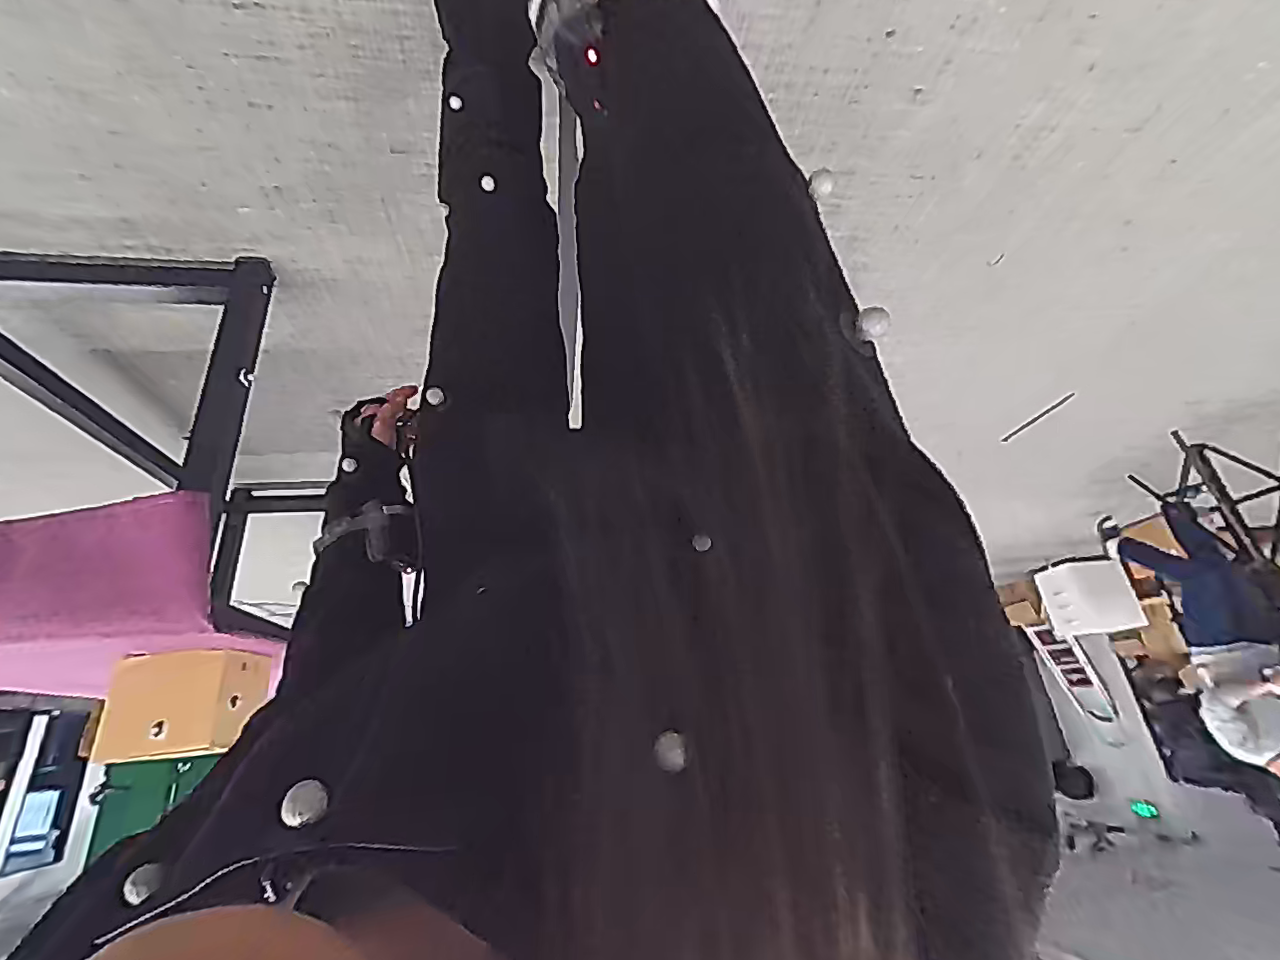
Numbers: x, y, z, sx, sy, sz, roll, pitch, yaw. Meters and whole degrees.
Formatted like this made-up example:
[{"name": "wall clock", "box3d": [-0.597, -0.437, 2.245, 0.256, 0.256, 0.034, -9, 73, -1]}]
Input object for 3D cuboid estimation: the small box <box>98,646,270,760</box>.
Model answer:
[{"name": "small box", "box3d": [-0.802, 0.398, 0.978, 0.179, 0.176, 0.168, -2, 156, -8]}]
